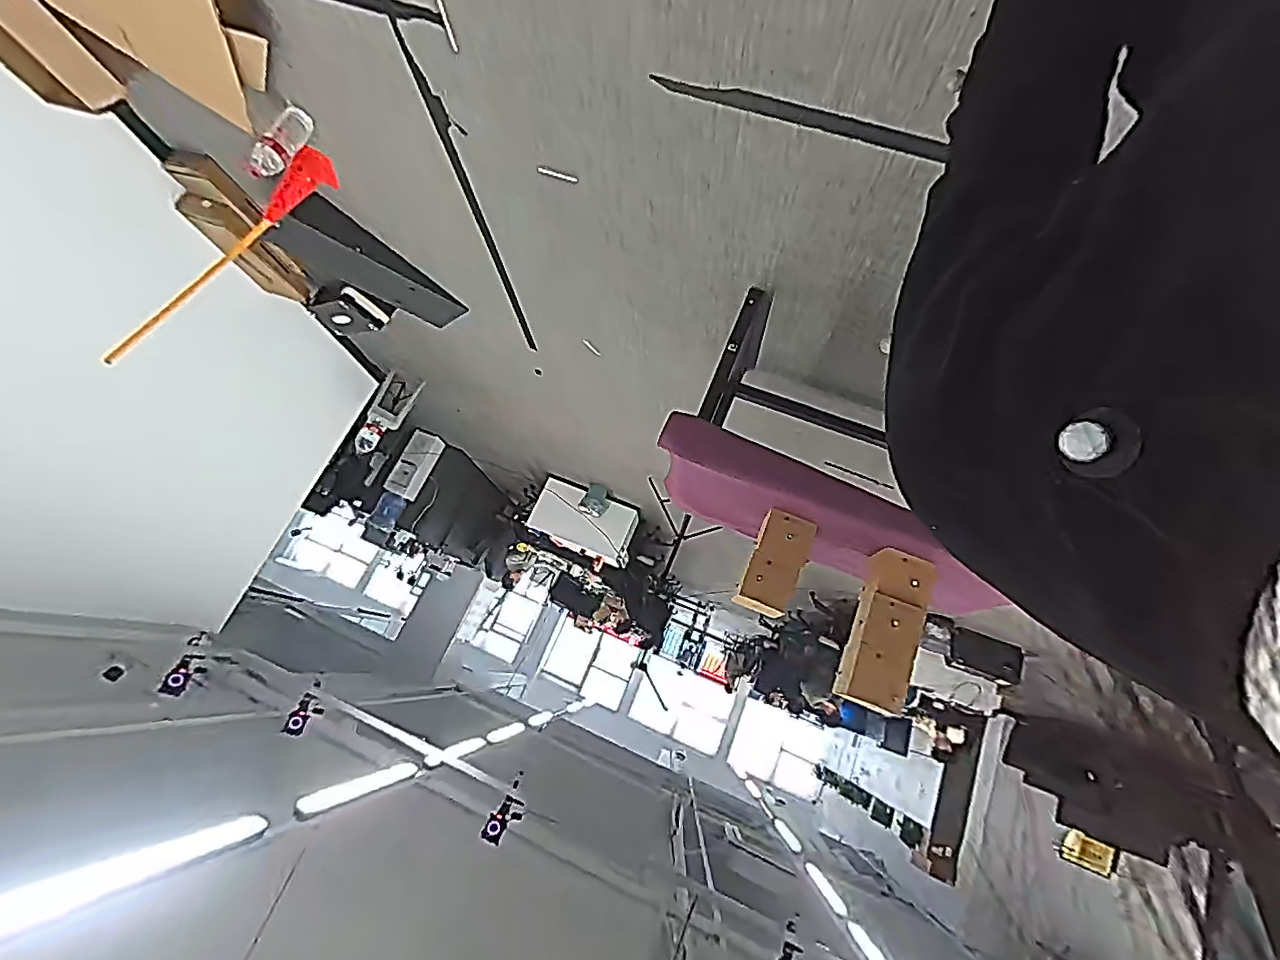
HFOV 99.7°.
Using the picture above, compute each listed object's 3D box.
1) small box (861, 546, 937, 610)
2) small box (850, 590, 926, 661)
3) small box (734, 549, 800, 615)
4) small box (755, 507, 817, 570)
[{"bbox_3d":[0.872,0.334,1.817,0.168,0.176,0.179,21,164,10],"label":"small box"},{"bbox_3d":[0.804,0.470,1.751,0.168,0.176,0.179,19,163,15],"label":"small box"},{"bbox_3d":[0.441,0.352,1.876,0.168,0.176,0.179,22,164,8],"label":"small box"},{"bbox_3d":[0.514,0.213,1.917,0.168,0.176,0.179,21,163,10],"label":"small box"}]
